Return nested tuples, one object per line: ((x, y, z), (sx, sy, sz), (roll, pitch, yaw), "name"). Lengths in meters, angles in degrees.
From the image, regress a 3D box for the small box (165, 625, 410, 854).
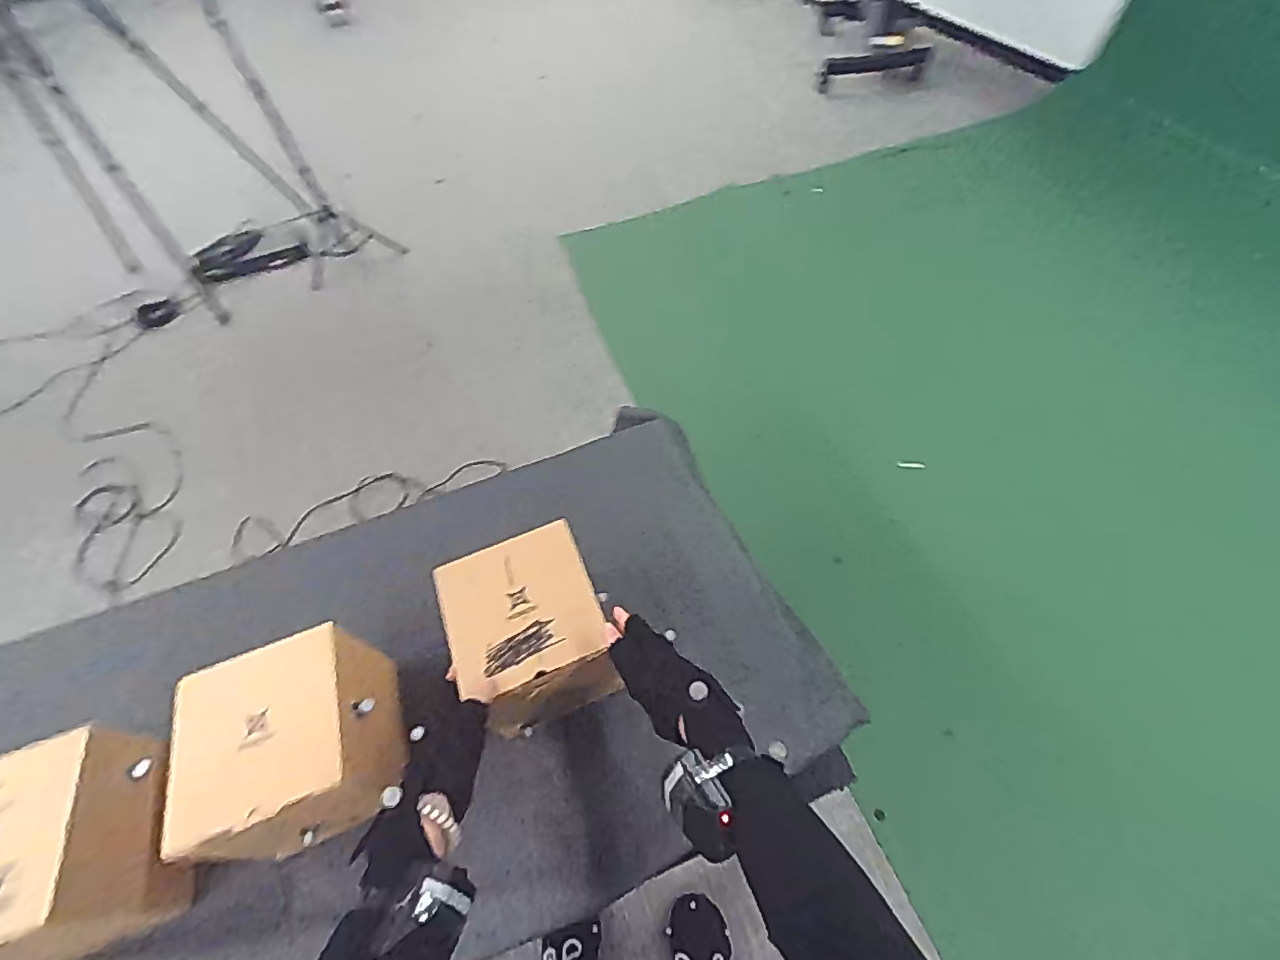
((-0.384, 0.299, 0.619), (0.168, 0.176, 0.179), (-20, 56, -10), "small box")

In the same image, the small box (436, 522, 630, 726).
((-0.124, 0.188, 0.675), (0.168, 0.176, 0.179), (-25, 59, -8), "small box")
